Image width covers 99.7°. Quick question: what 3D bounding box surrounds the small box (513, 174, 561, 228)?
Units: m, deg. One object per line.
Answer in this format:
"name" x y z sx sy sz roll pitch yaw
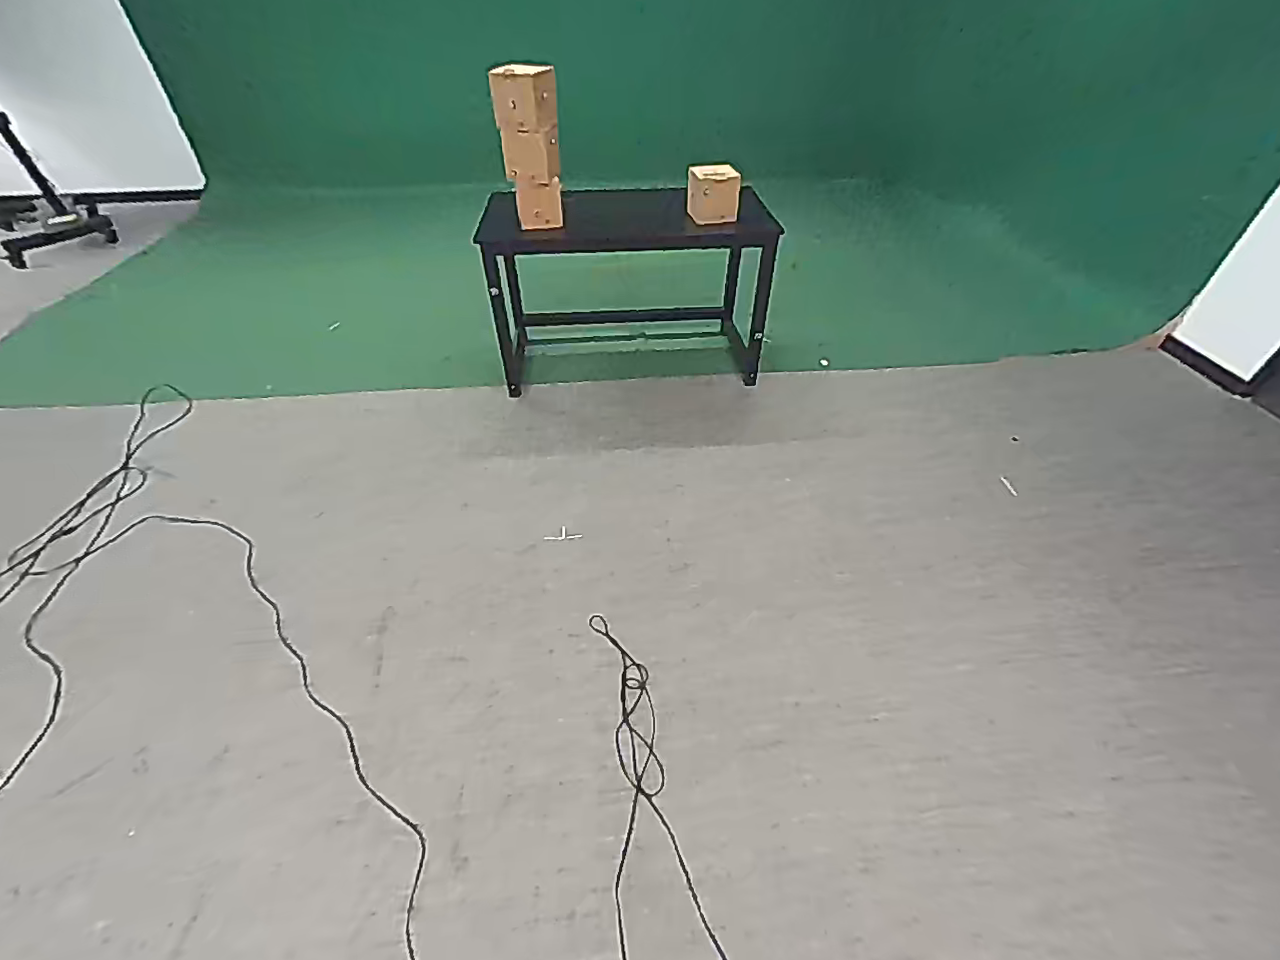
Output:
"small box" -0.411 -1.114 2.141 0.168 0.176 0.179 -9 45 -10

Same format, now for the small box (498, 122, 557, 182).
"small box" -0.414 -1.232 2.027 0.168 0.176 0.179 6 44 5

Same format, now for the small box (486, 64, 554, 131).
"small box" -0.417 -1.355 1.918 0.168 0.176 0.179 14 47 13
